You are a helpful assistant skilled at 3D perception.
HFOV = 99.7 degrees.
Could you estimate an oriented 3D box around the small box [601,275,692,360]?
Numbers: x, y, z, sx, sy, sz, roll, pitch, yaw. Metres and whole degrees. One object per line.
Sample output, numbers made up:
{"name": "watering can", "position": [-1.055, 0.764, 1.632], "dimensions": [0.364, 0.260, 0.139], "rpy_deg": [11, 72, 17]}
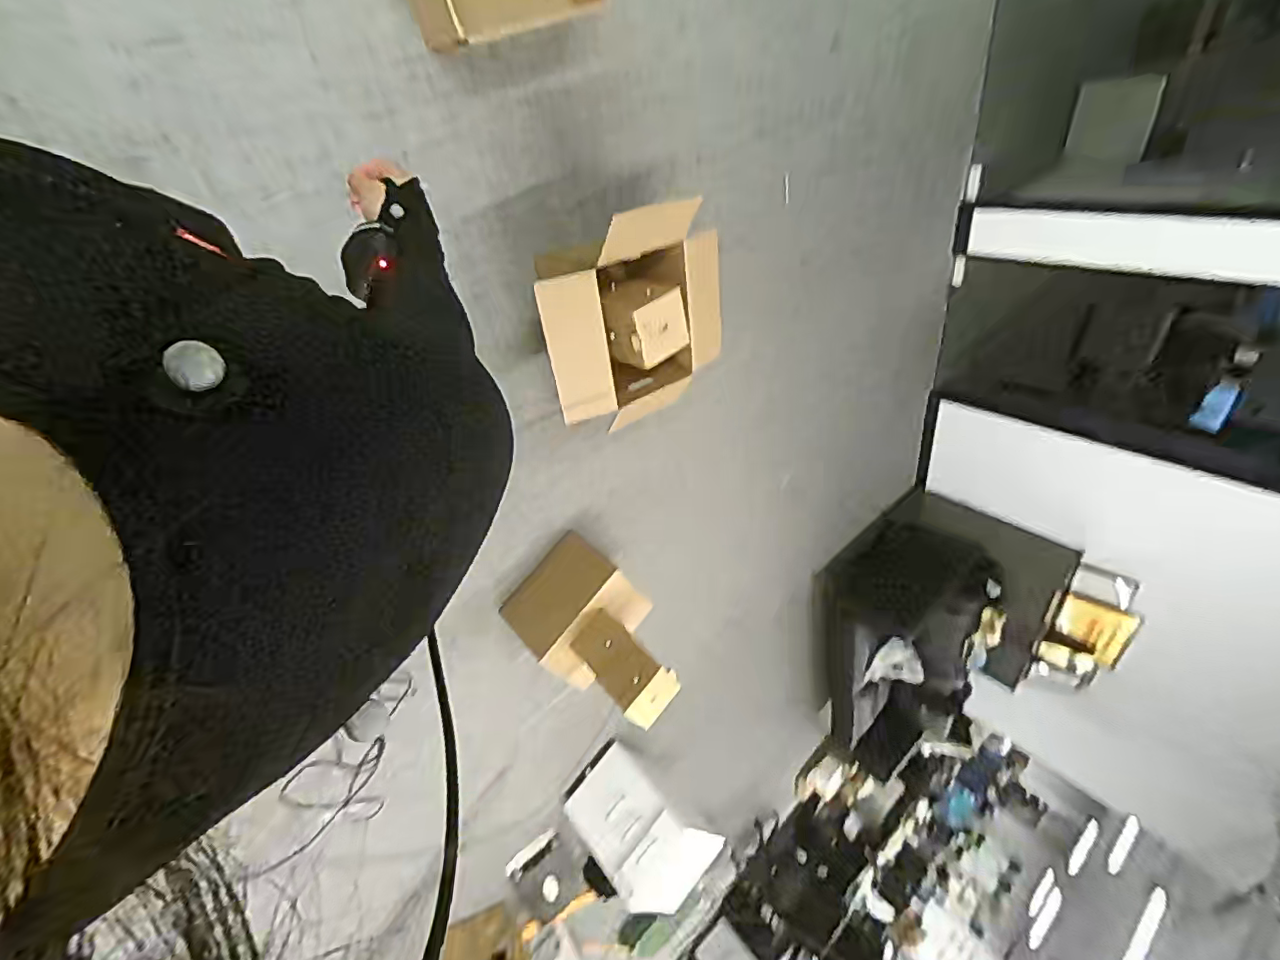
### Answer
{"name": "small box", "position": [0.019, -0.469, 1.540], "dimensions": [0.179, 0.176, 0.168], "rpy_deg": [-36, 131, -23]}

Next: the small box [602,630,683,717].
{"name": "small box", "position": [0.002, 0.619, 1.739], "dimensions": [0.179, 0.176, 0.168], "rpy_deg": [-48, 135, -12]}

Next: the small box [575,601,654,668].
{"name": "small box", "position": [-0.090, 0.548, 1.853], "dimensions": [0.179, 0.176, 0.168], "rpy_deg": [-48, 135, -11]}
